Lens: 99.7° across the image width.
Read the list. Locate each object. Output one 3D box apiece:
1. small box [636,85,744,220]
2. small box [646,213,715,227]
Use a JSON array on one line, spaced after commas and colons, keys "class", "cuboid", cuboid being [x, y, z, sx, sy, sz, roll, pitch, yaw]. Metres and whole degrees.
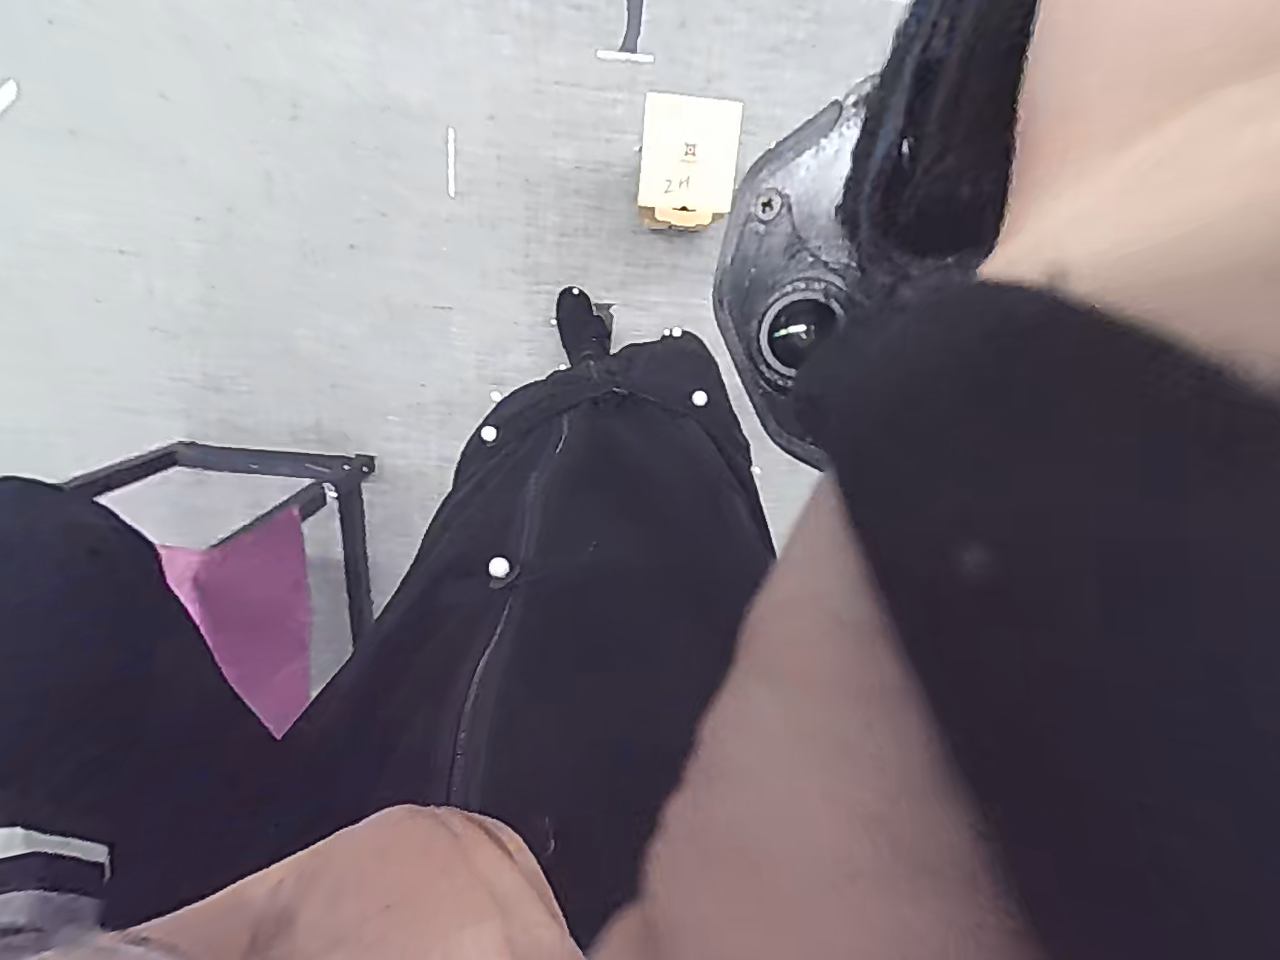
[{"class": "small box", "cuboid": [0.082, -0.591, 0.996, 0.168, 0.176, 0.179, 4, 111, -3]}, {"class": "small box", "cuboid": [0.099, -0.713, 1.304, 0.168, 0.176, 0.179, 2, 110, -1]}]
